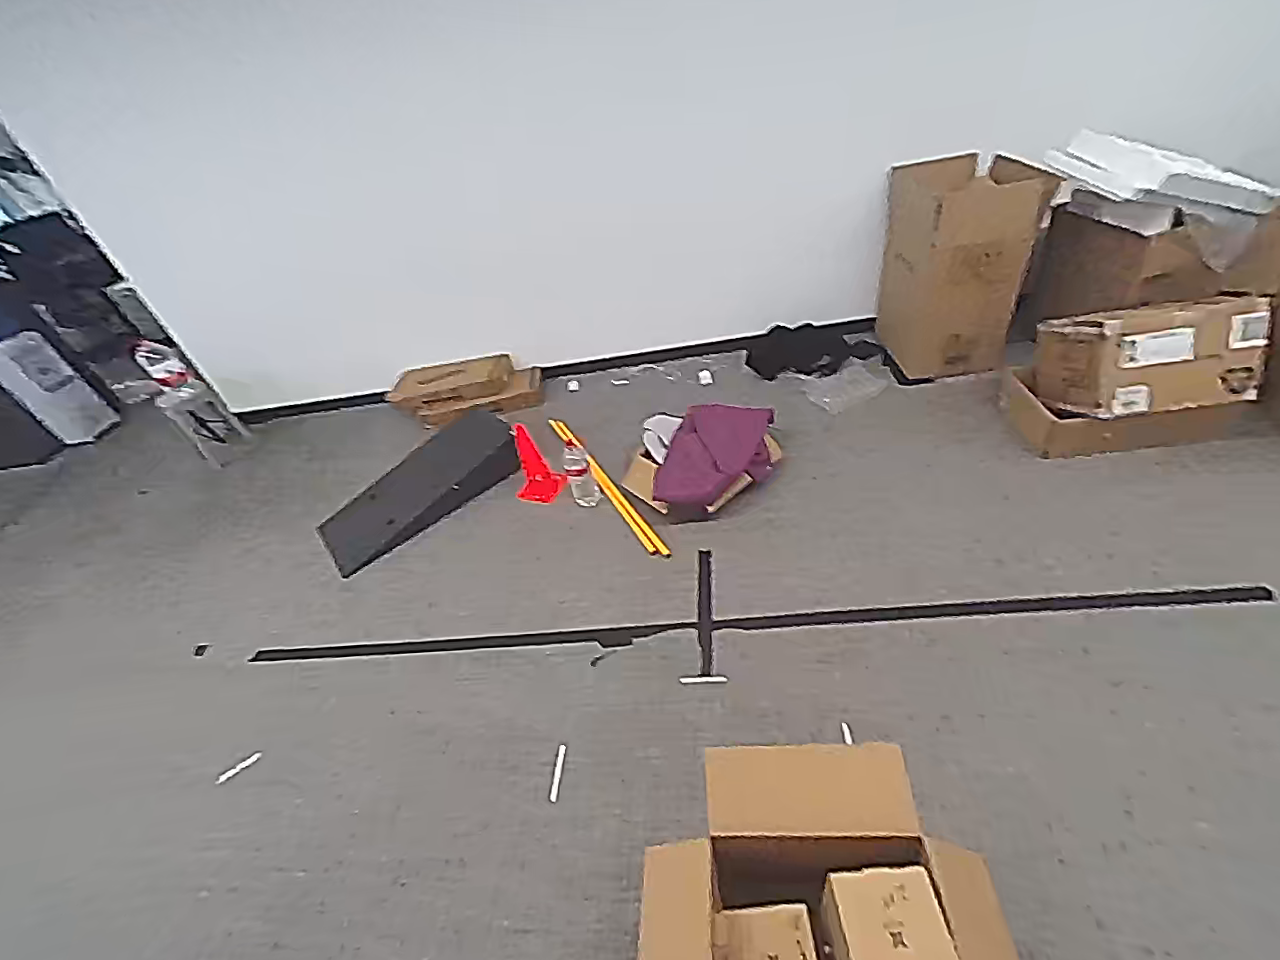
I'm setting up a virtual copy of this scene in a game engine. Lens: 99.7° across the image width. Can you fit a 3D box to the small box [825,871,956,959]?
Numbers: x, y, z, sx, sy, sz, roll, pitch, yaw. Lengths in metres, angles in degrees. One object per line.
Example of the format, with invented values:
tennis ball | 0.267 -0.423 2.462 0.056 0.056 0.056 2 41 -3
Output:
small box | 0.426 0.802 0.927 0.168 0.176 0.179 -7 39 3
